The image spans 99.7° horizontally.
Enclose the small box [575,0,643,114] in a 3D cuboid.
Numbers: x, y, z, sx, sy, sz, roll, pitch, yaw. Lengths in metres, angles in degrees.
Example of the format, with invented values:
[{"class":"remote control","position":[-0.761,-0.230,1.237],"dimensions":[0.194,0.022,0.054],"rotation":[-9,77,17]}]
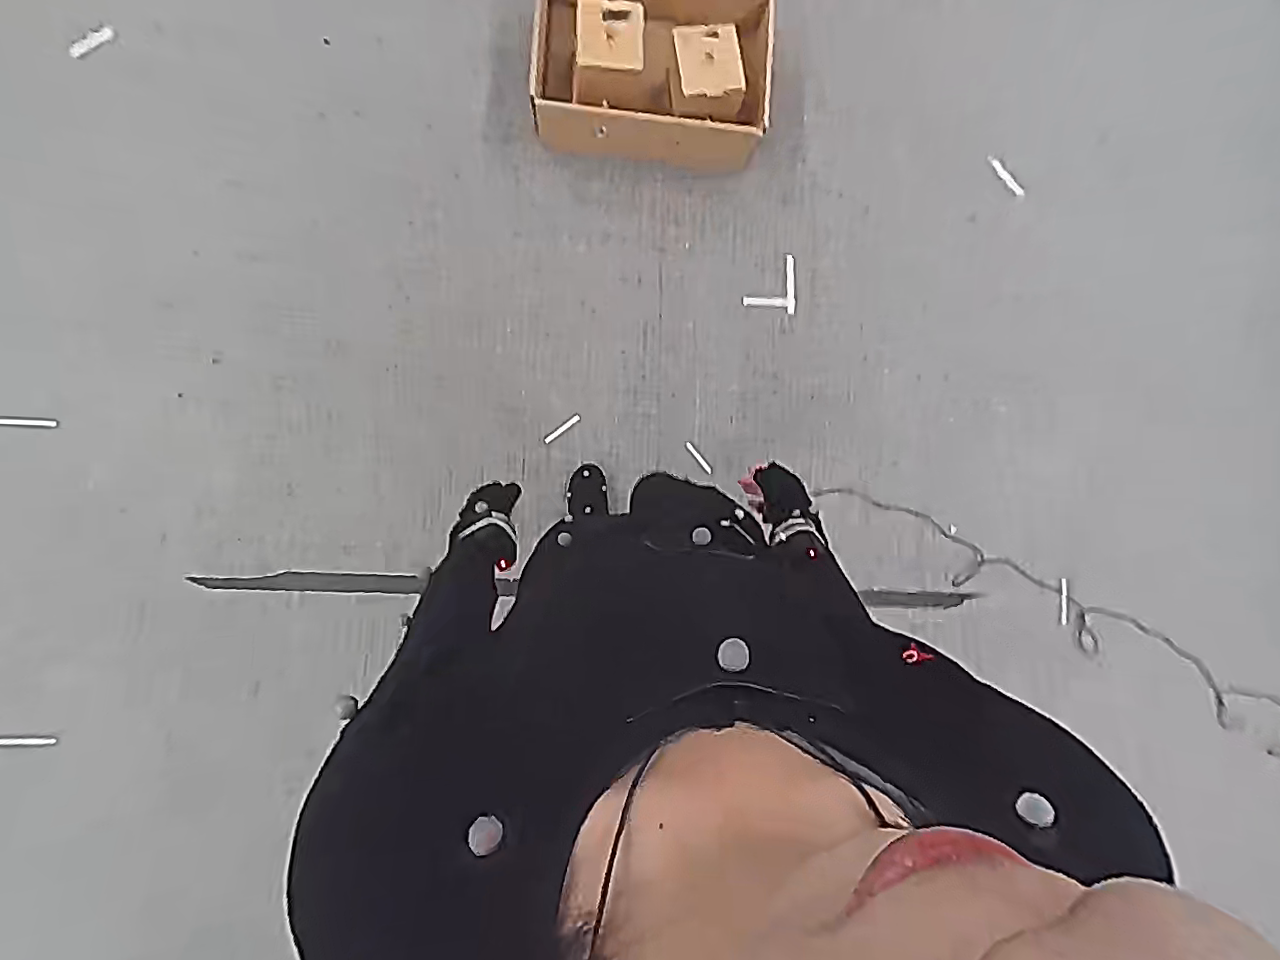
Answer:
[{"class":"small box","position":[-0.084,-1.111,1.419],"dimensions":[0.168,0.176,0.179],"rotation":[1,88,-7]}]
